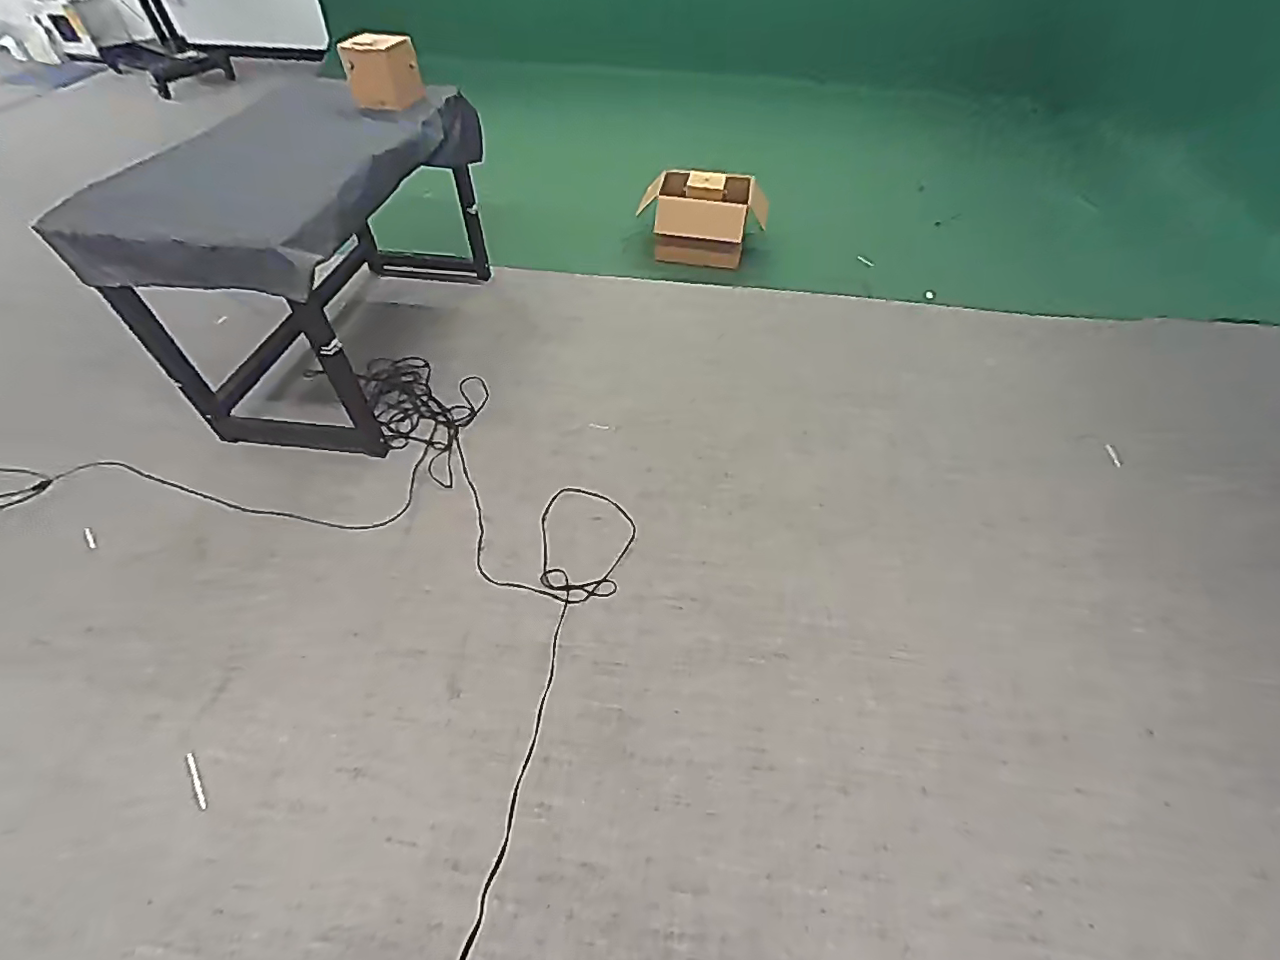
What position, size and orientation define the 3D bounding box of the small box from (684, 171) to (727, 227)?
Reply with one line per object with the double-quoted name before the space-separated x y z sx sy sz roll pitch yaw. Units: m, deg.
"small box" 0.299 -1.295 2.495 0.168 0.176 0.179 10 50 6
